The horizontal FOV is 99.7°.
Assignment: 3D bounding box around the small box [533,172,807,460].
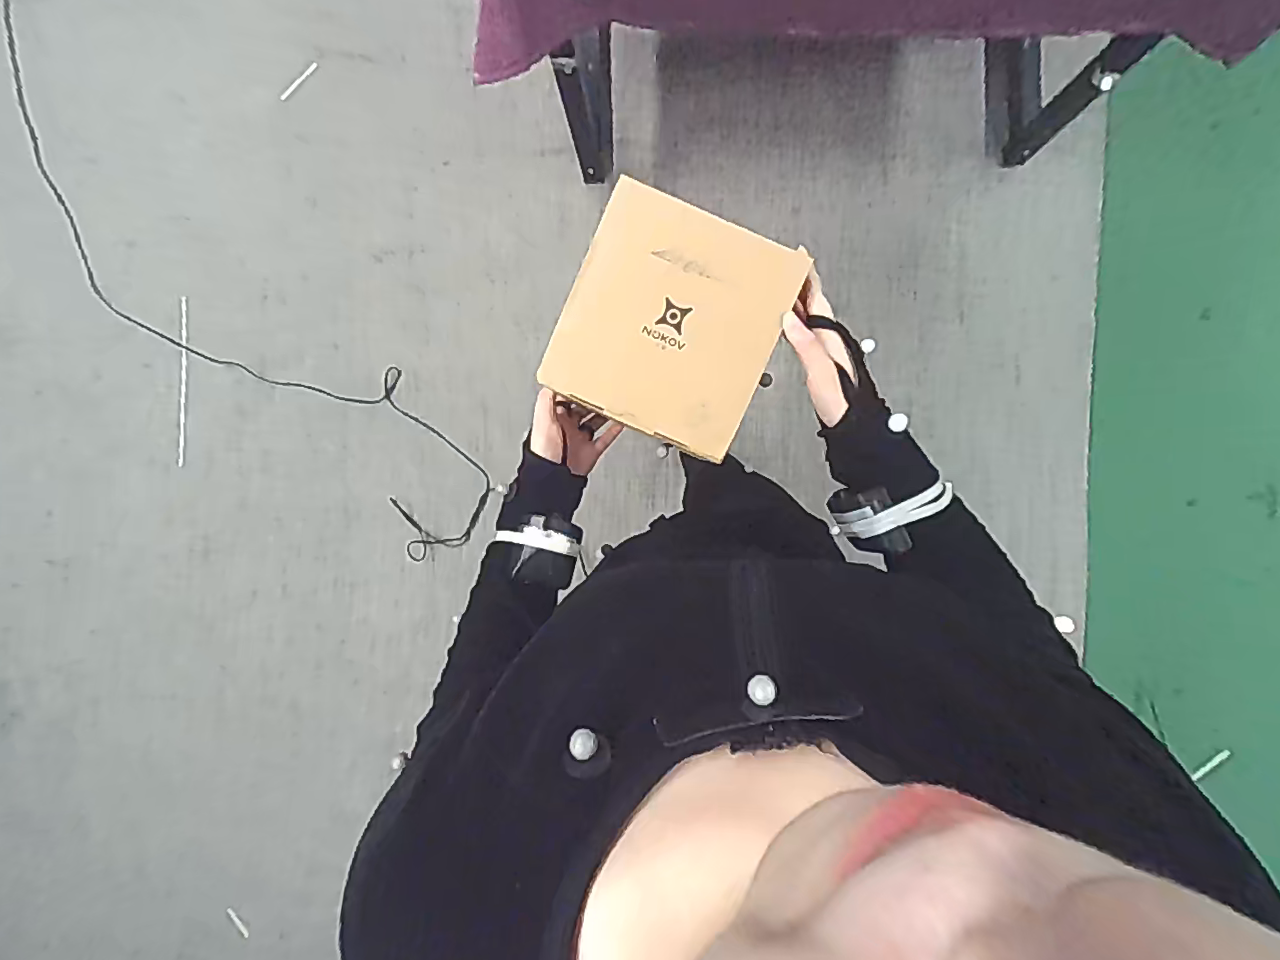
[{"bbox_3d":[0.025,-0.131,0.501,0.168,0.176,0.179,24,94,0],"label":"small box"}]
